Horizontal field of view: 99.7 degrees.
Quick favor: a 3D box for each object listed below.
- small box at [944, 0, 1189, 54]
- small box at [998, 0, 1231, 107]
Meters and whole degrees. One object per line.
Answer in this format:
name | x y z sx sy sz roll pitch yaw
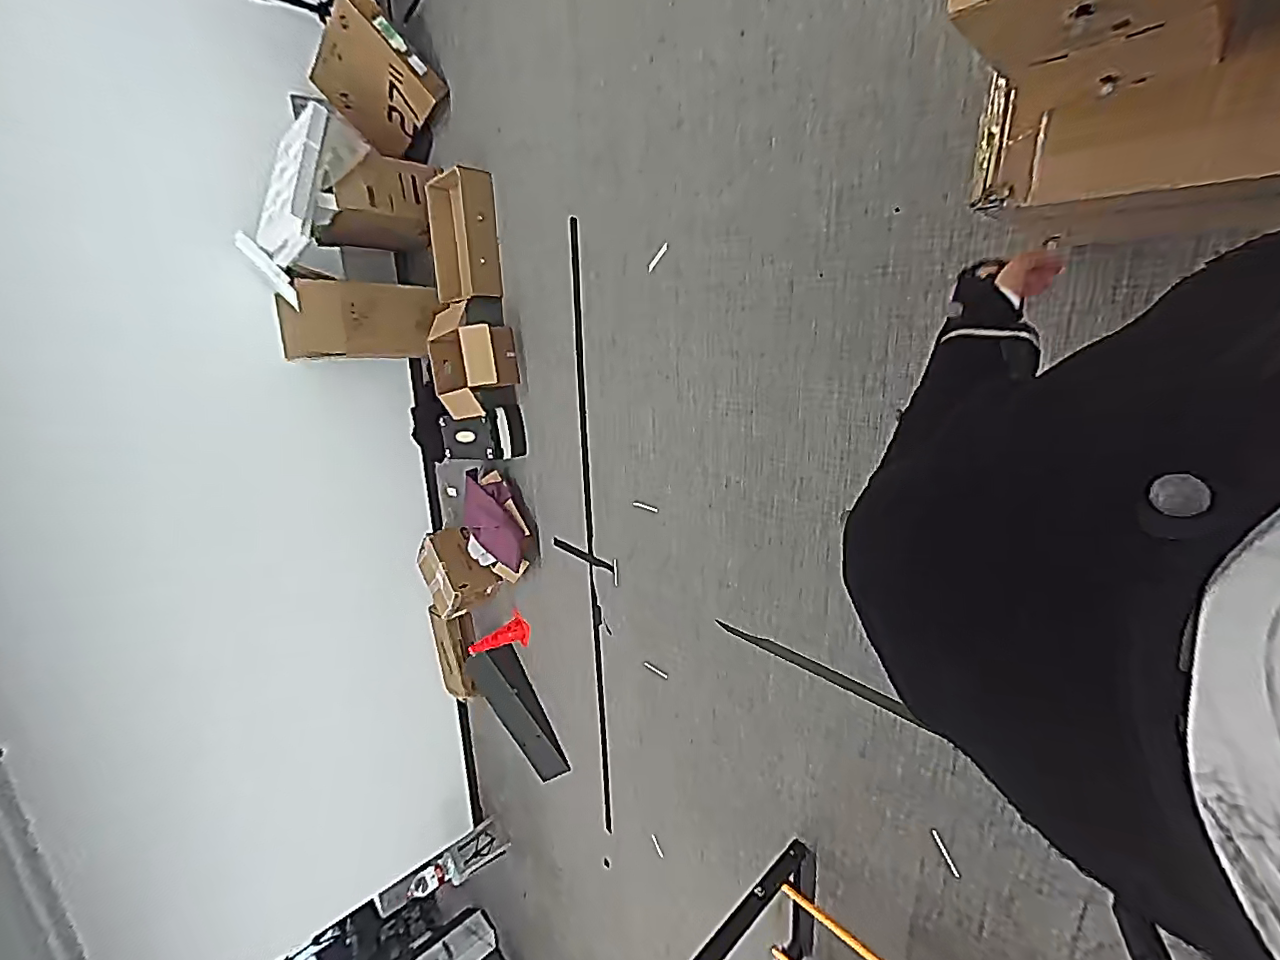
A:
small box | 0.374 -0.490 0.444 0.168 0.176 0.179 12 111 46
small box | 0.494 -0.521 0.552 0.168 0.176 0.179 14 112 45
